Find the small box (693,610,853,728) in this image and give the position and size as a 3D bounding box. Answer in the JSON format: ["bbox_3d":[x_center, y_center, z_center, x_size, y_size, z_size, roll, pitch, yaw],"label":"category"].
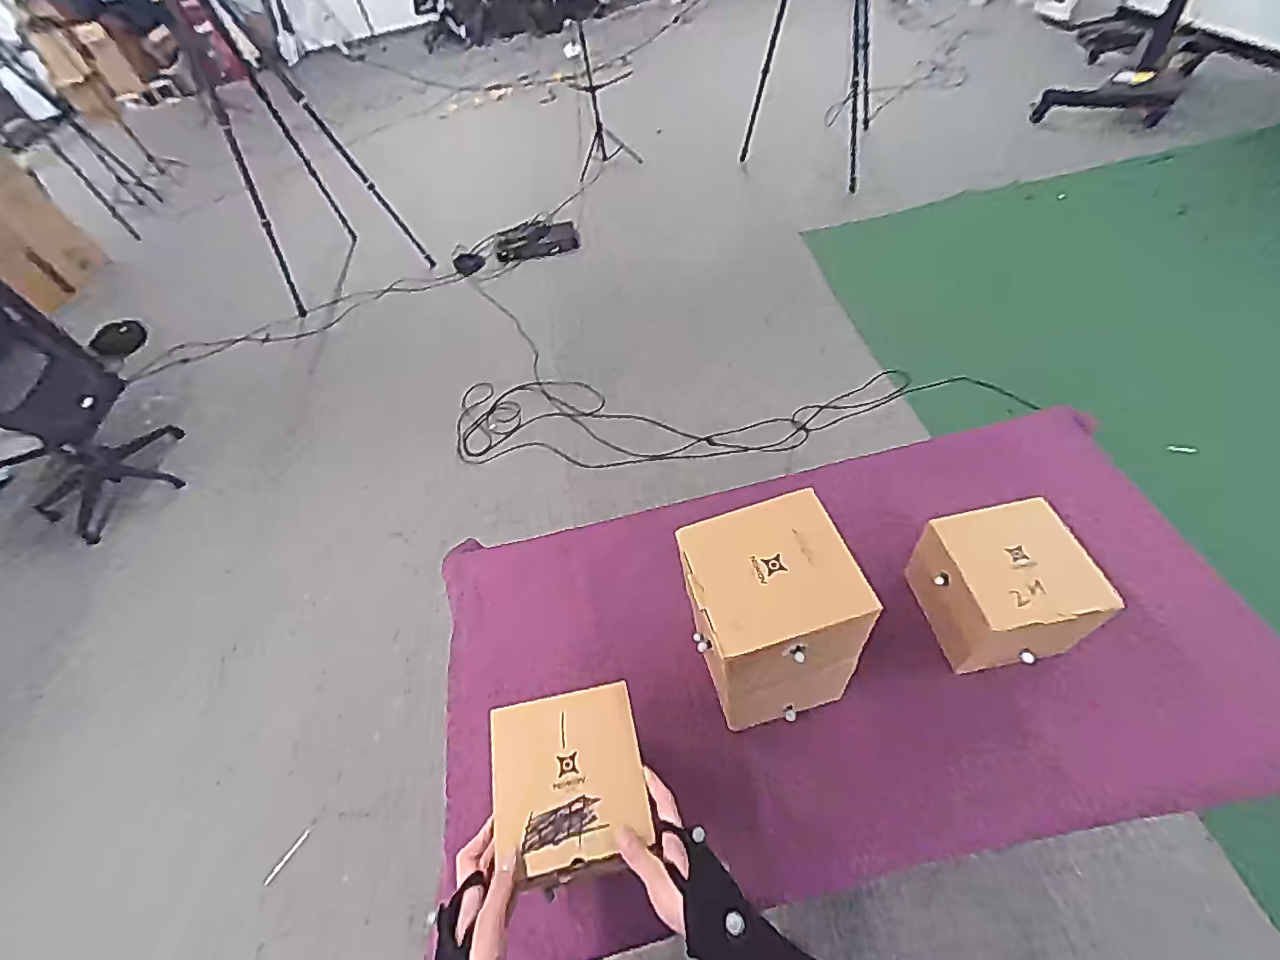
[{"bbox_3d":[0.181,0.240,0.791,0.179,0.176,0.168,-16,51,-2],"label":"small box"}]

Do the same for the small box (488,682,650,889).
[{"bbox_3d":[-0.082,0.372,0.654,0.168,0.176,0.179,-9,51,-7],"label":"small box"}]

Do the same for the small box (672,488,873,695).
[{"bbox_3d":[0.153,0.142,0.663,0.179,0.176,0.168,-17,53,-2],"label":"small box"}]

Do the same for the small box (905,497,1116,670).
[{"bbox_3d":[0.516,0.154,0.791,0.168,0.176,0.179,-12,52,2],"label":"small box"}]
